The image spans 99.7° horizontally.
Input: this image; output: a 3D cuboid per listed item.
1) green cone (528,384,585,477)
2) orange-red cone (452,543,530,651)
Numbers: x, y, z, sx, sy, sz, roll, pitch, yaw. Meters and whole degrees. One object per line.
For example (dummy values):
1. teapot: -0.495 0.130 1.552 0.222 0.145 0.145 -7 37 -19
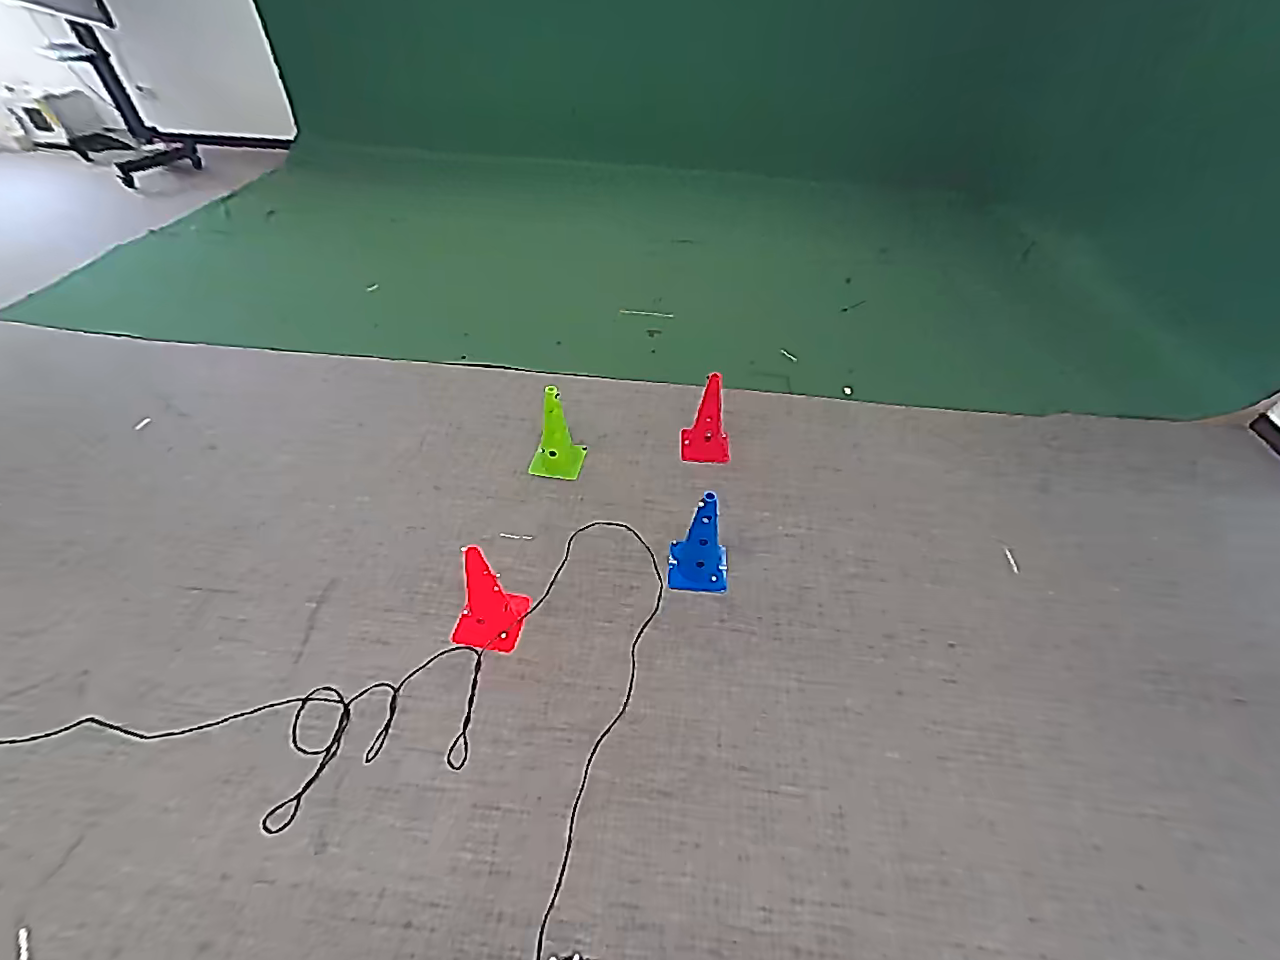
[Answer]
1. green cone: -0.331 -0.211 2.061 0.200 0.368 0.202 7 47 5
2. orange-red cone: -0.450 0.305 1.555 0.198 0.360 0.199 10 44 6
